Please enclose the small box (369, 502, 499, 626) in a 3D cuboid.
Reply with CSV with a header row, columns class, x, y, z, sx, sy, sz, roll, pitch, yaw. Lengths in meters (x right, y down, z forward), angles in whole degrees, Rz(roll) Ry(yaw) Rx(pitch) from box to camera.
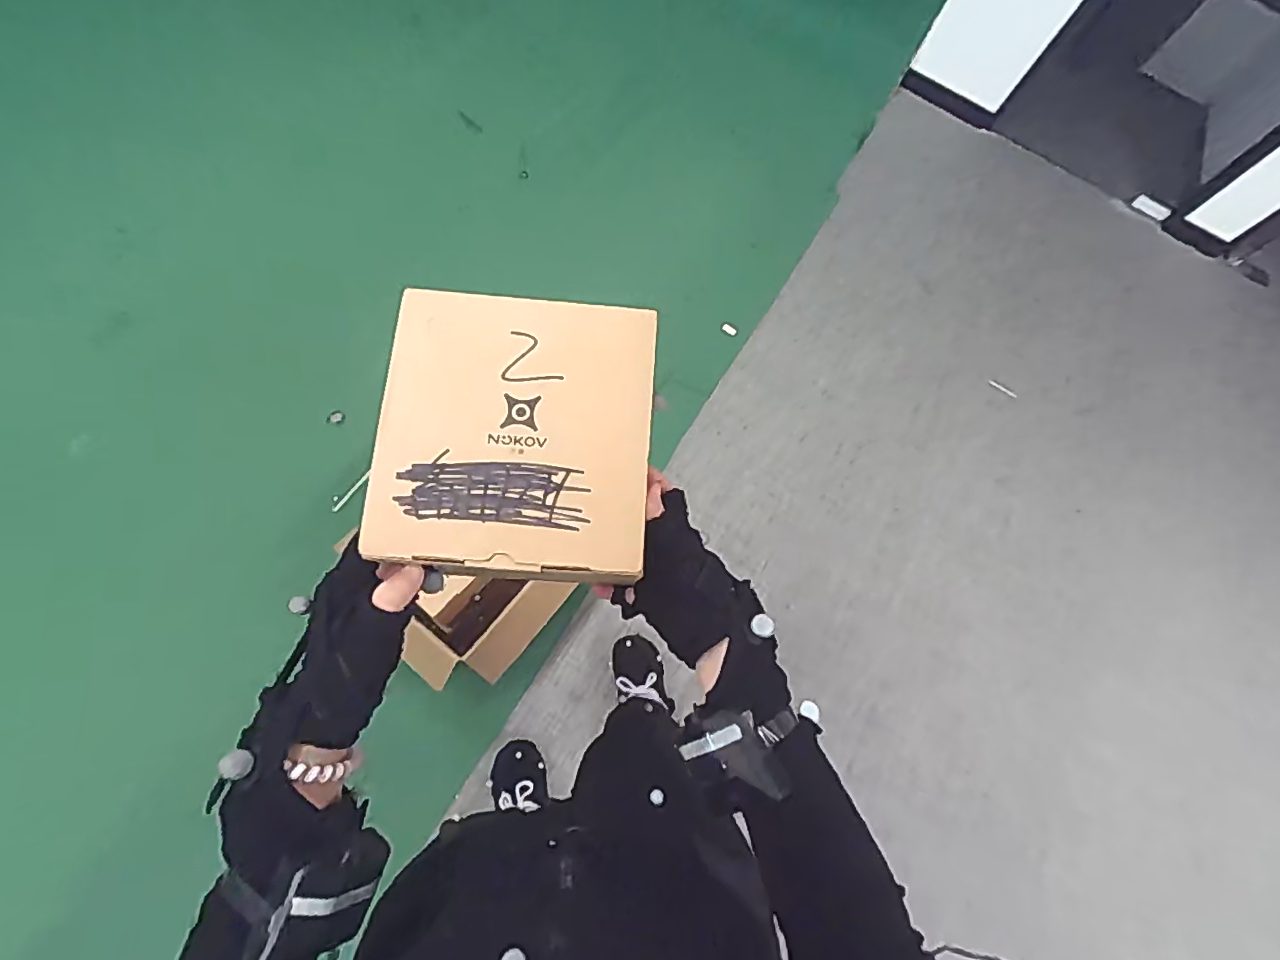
class,x,y,z,sx,sy,sz,roll,pitch,yaw
small box,-0.411,0.181,1.109,0.179,0.176,0.168,41,68,7
